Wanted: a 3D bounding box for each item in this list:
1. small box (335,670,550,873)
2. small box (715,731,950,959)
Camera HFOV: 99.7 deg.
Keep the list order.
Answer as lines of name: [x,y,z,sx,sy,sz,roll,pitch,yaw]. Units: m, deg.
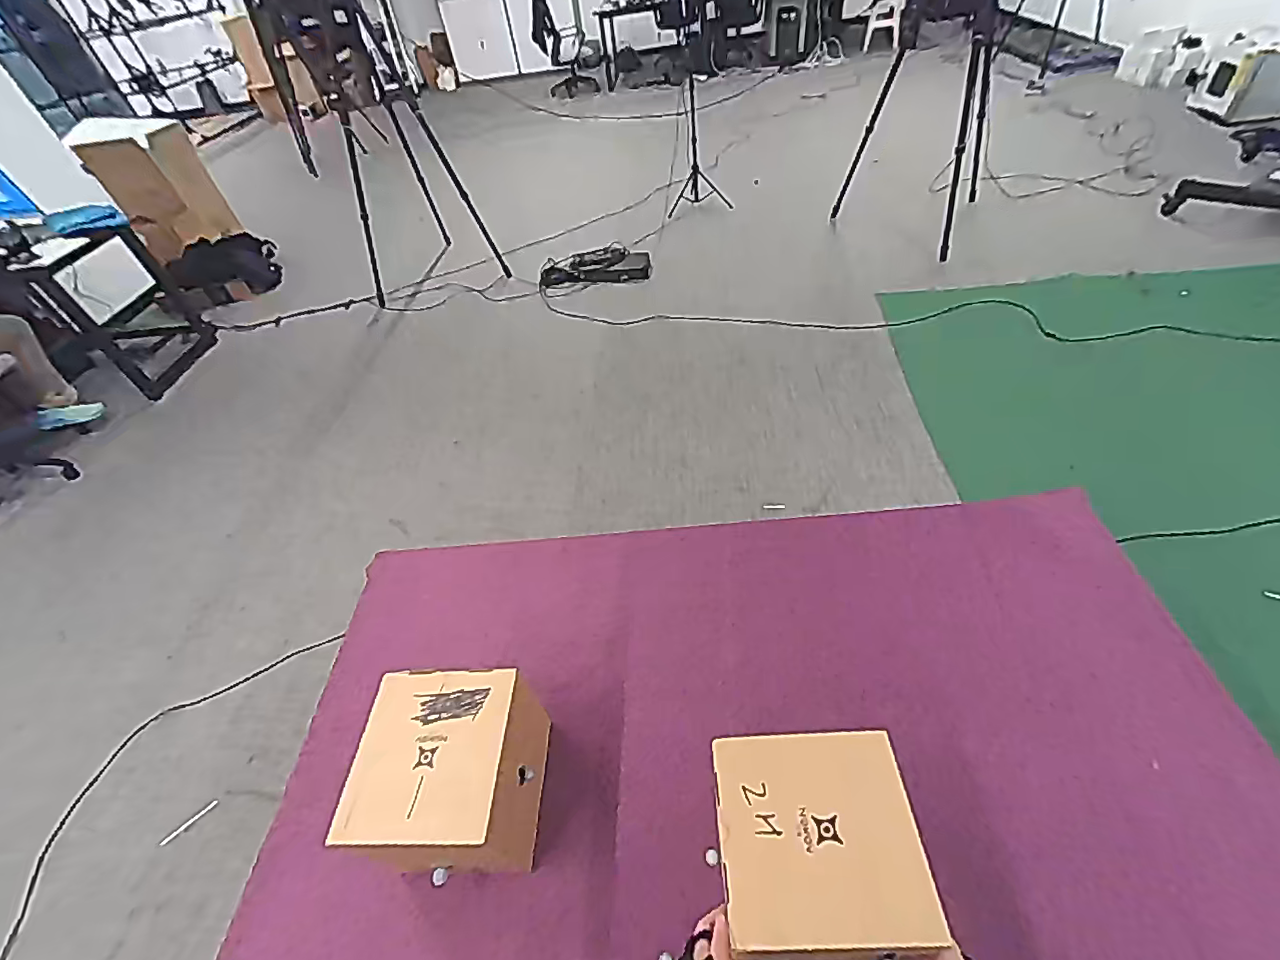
small box: [-0.211,0.345,0.641,0.168,0.176,0.179,-4,47,6]
small box: [0.172,0.371,0.547,0.179,0.176,0.168,-6,45,6]
